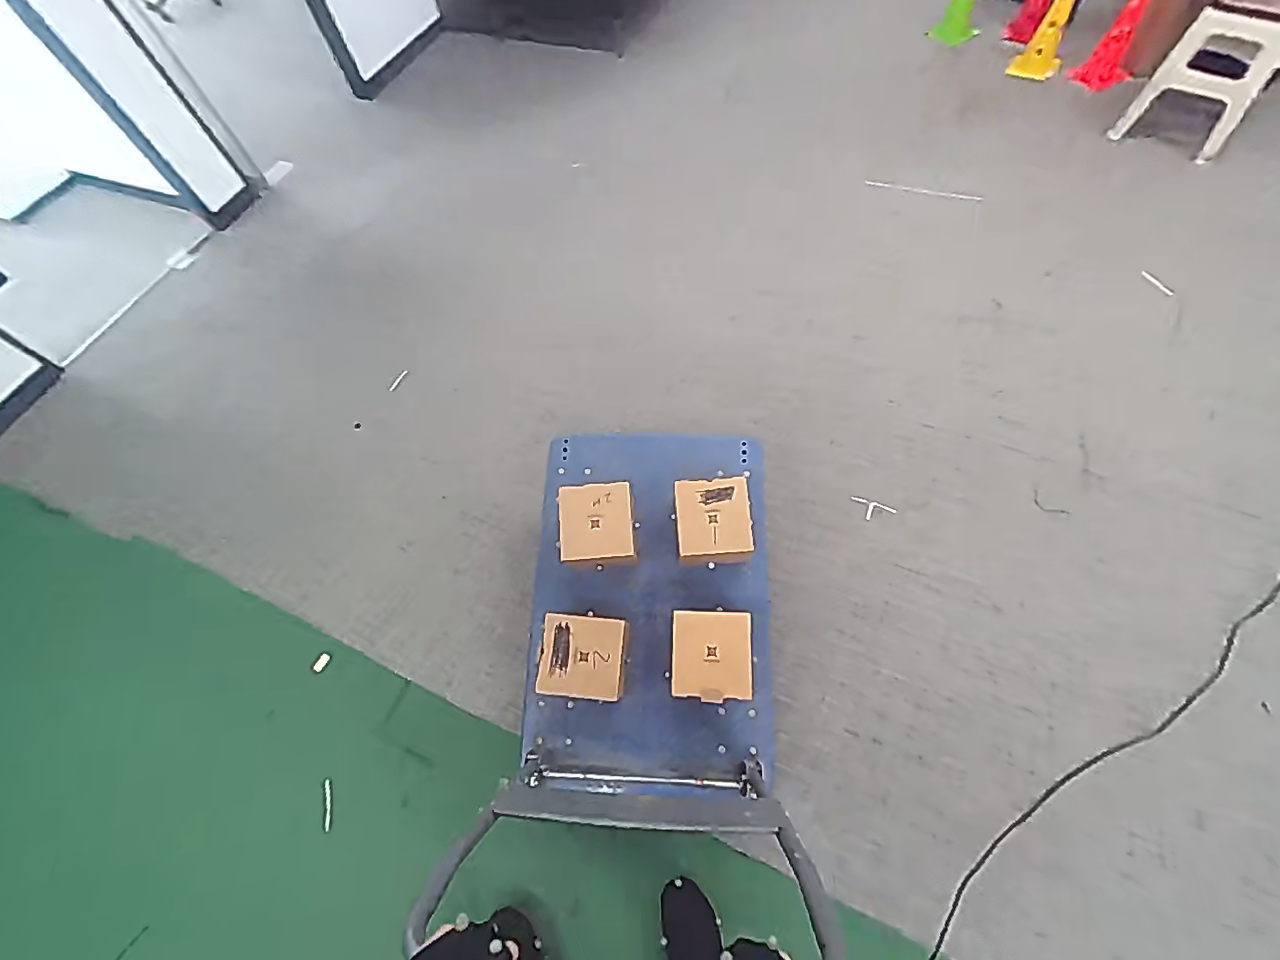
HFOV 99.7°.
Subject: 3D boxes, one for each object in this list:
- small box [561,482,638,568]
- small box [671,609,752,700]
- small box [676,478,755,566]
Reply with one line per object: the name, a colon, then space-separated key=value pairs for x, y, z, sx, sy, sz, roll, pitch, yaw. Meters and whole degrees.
small box: x=-0.093 y=0.115 z=1.305 sx=0.168 sy=0.176 sz=0.179 roll=-4 pitch=72 yaw=1
small box: x=0.155 y=0.388 z=1.207 sx=0.168 sy=0.176 sz=0.179 roll=2 pitch=73 yaw=4
small box: x=0.173 y=0.105 z=1.294 sx=0.168 sy=0.176 sz=0.179 roll=-4 pitch=73 yaw=3
